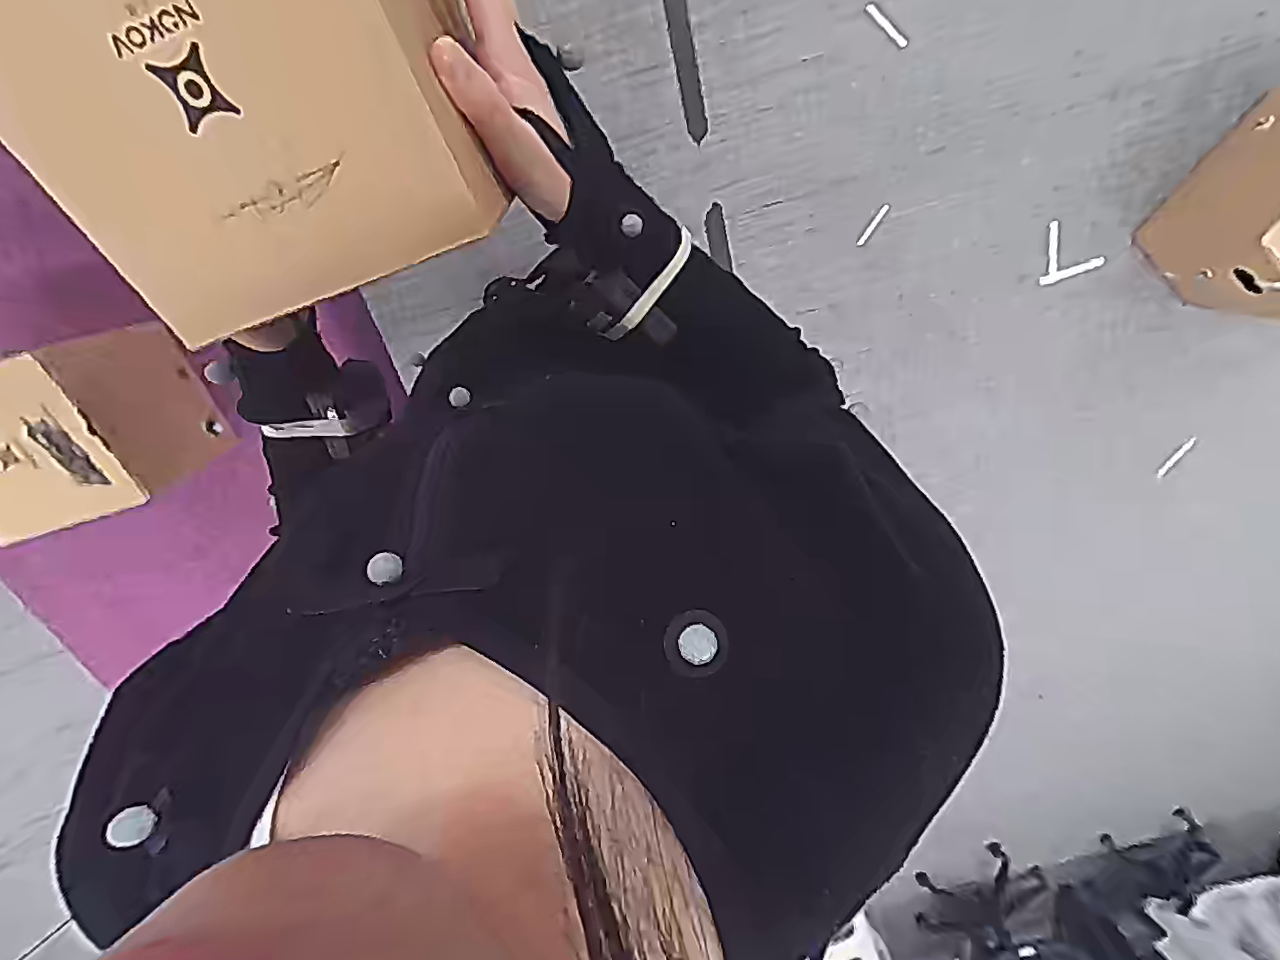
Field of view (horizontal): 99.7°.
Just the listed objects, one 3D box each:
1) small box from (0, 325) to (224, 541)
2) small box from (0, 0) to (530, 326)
[{"bbox_3d":[-0.619,-0.062,0.605,0.179,0.176,0.168,-16,115,3],"label":"small box"},{"bbox_3d":[-0.168,-0.208,0.263,0.168,0.176,0.179,-16,128,9],"label":"small box"}]
